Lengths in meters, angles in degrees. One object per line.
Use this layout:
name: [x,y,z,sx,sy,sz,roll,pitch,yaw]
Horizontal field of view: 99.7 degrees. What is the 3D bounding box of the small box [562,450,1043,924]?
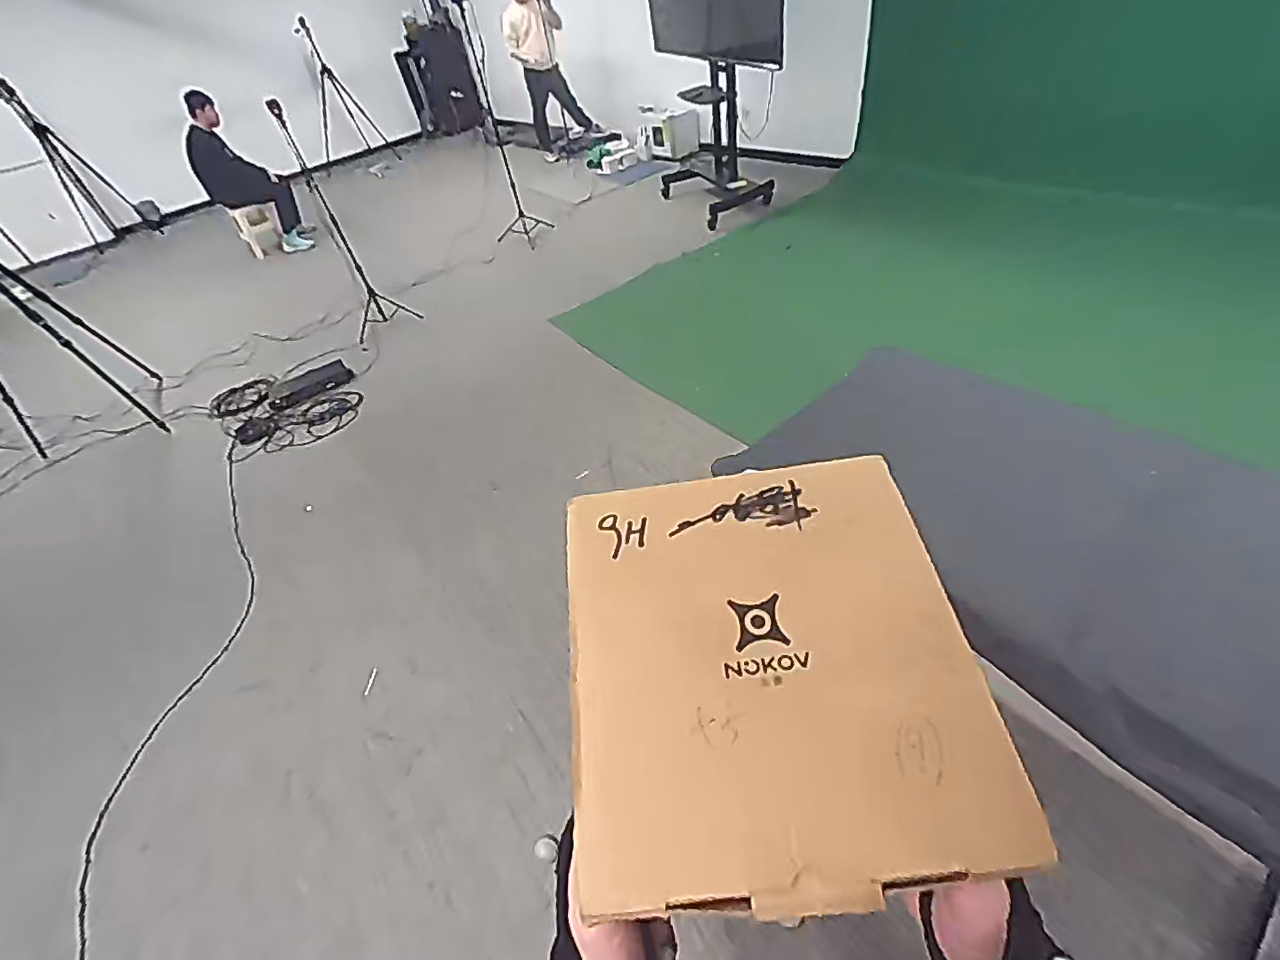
small box: [0.054,0.109,0.294,0.168,0.176,0.179,-7,57,-1]
